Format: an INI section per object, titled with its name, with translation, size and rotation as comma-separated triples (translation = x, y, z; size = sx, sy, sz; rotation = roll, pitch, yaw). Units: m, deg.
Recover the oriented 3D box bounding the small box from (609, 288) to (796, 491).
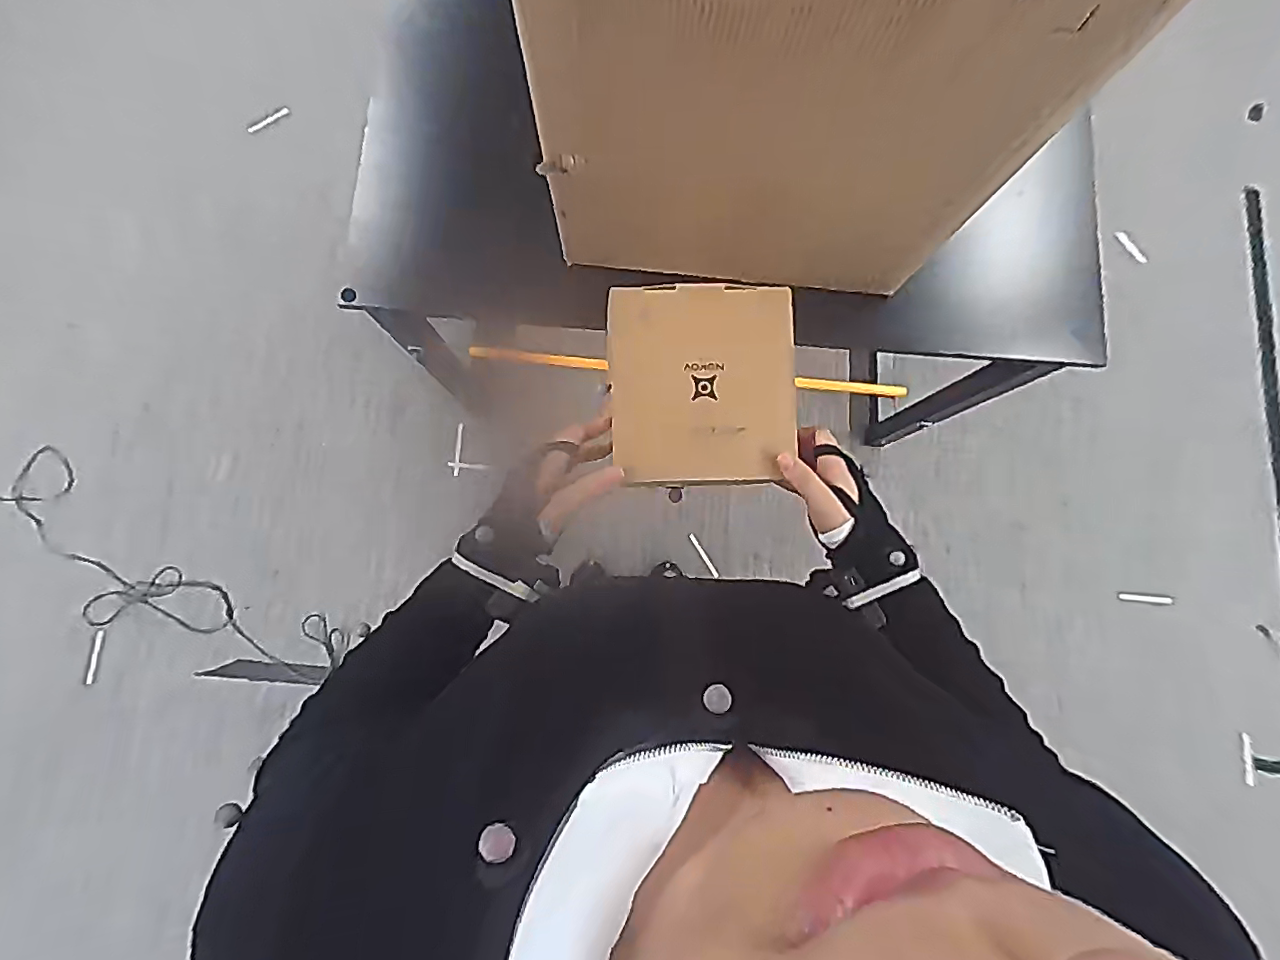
[small box]
translation = 0.051, -0.080, 0.560
size = 0.168, 0.176, 0.179
rotation = -2, 87, -3
